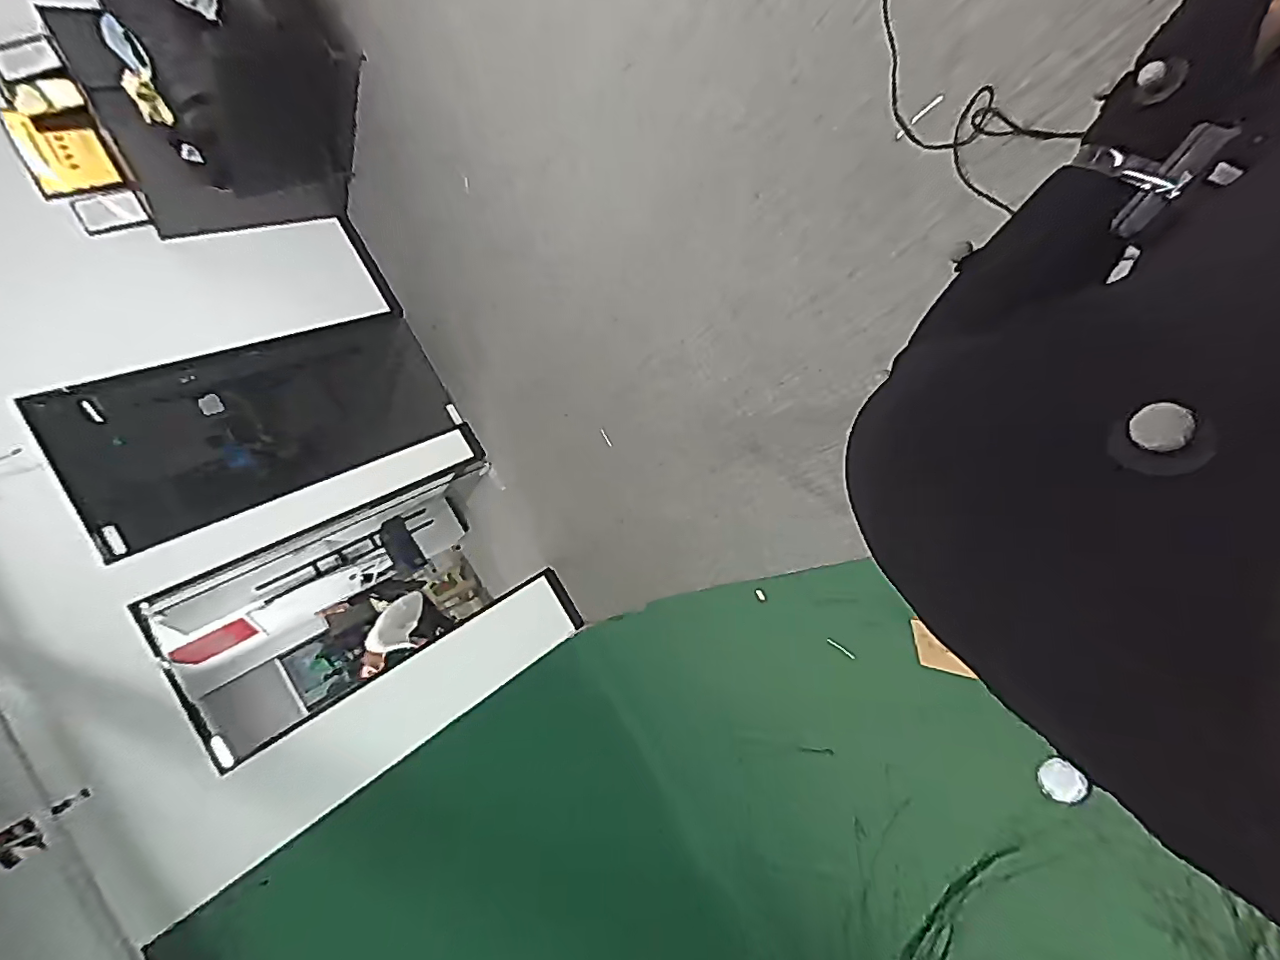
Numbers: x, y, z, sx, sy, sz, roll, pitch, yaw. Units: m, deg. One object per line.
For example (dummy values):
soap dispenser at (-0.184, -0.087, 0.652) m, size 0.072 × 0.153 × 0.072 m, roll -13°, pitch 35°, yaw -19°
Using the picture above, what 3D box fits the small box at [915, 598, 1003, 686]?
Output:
small box at (0.945, 0.467, 1.591) m, size 0.179 × 0.176 × 0.168 m, roll 1°, pitch 113°, yaw 52°
